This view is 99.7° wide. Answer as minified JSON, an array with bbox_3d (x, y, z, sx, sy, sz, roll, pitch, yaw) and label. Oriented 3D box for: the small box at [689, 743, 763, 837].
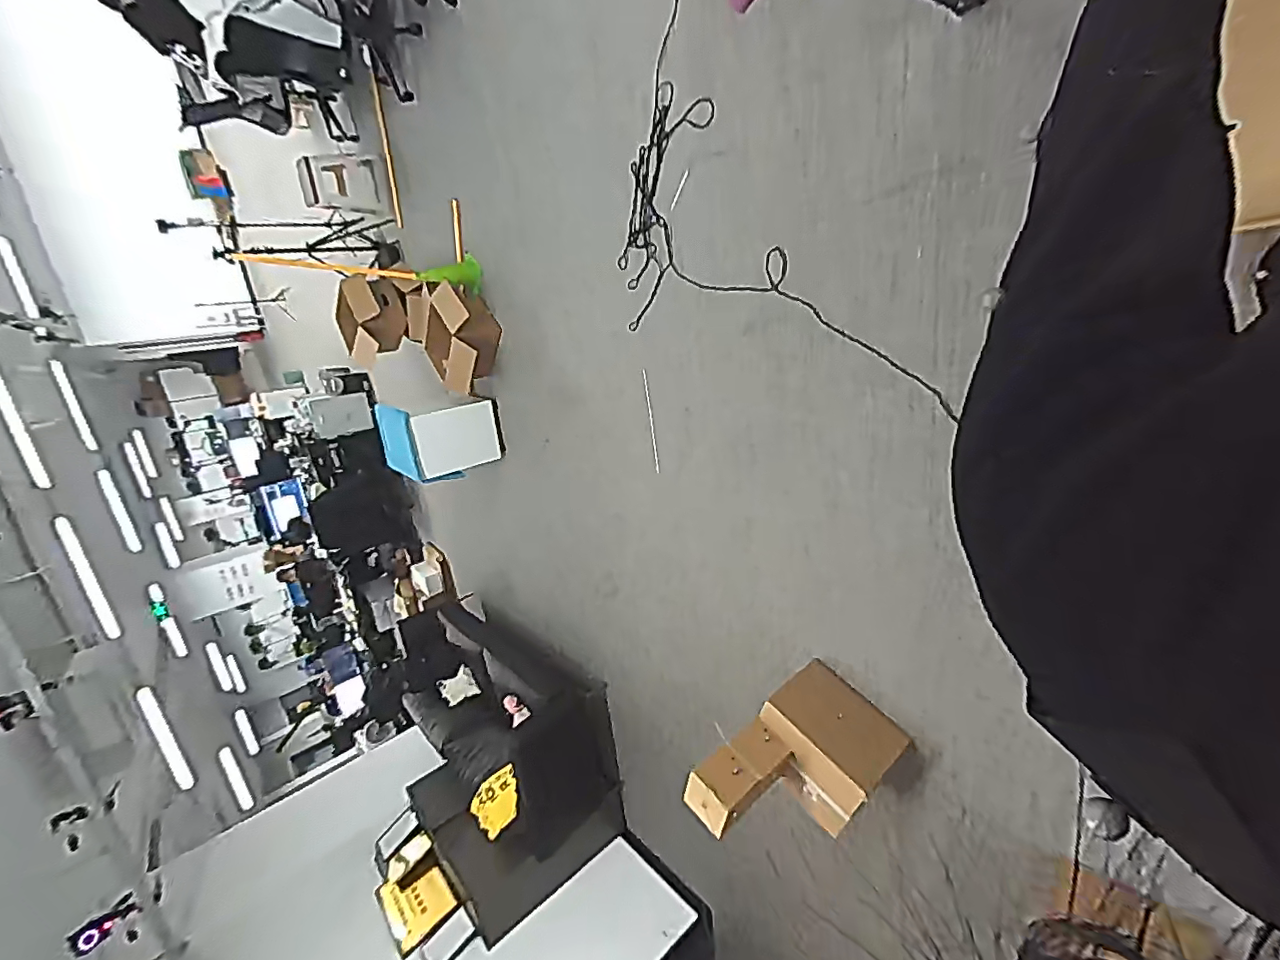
[{"bbox_3d":[0.284,1.018,1.785,0.168,0.176,0.179,34,131,38],"label":"small box"}]
